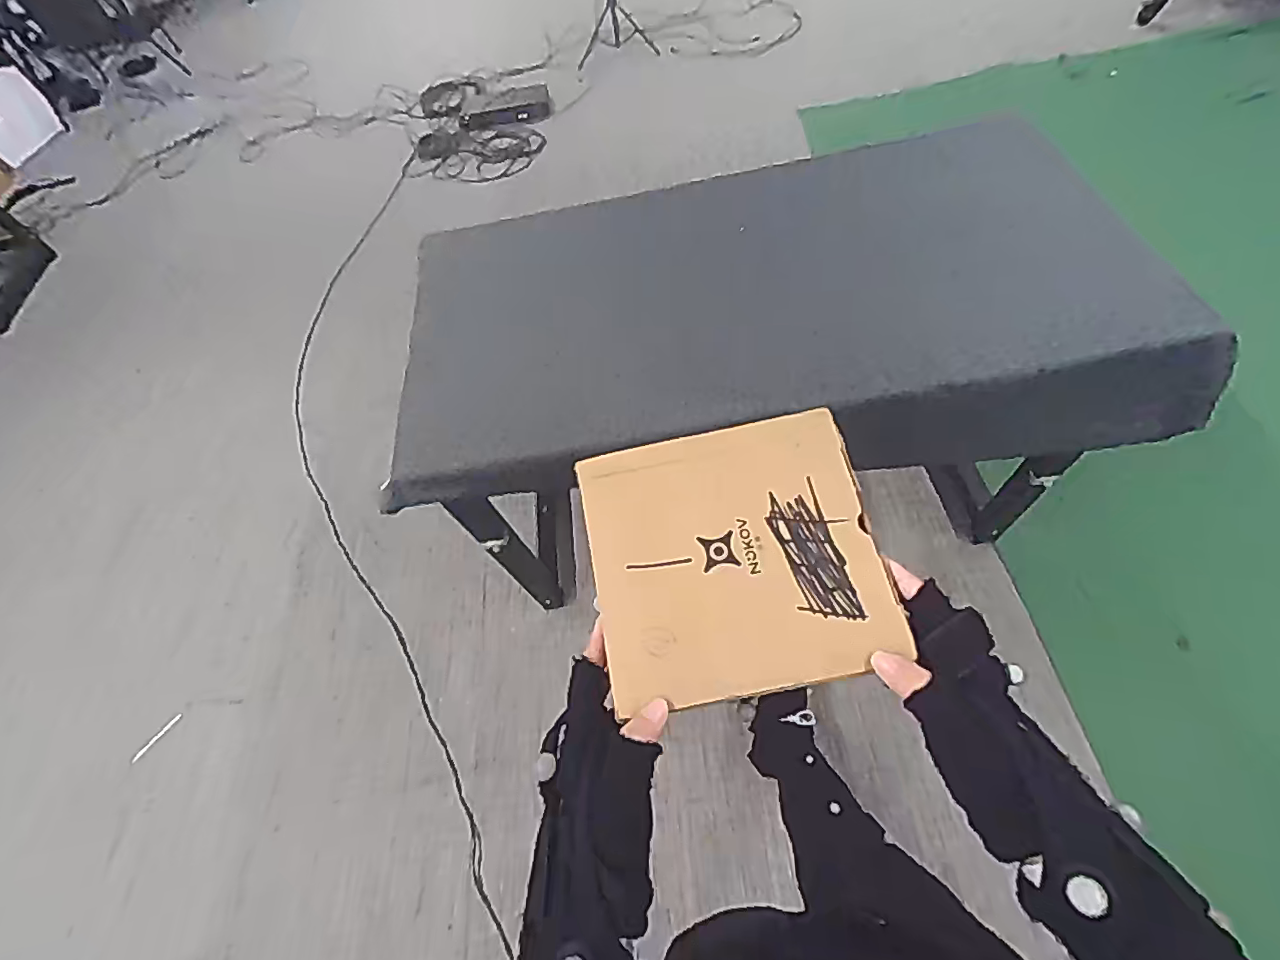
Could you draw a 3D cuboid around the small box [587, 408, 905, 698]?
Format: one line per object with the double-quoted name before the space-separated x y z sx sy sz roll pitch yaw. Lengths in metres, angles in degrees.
"small box" 0.067 0.068 0.424 0.179 0.176 0.168 -12 67 1
